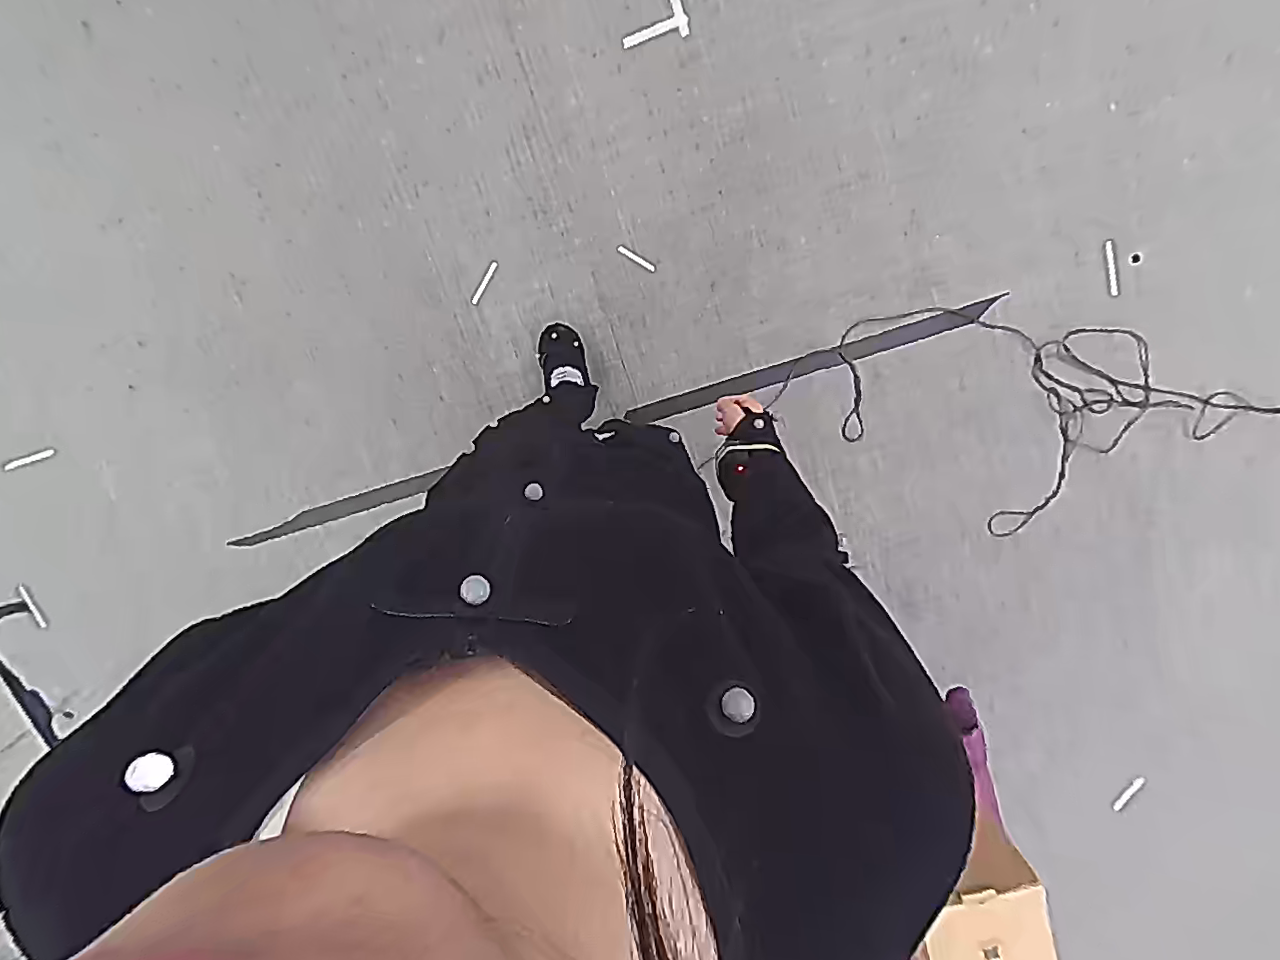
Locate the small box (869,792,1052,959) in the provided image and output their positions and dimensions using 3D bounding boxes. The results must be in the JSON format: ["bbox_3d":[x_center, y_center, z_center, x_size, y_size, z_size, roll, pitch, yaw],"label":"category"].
[{"bbox_3d":[0.463,0.599,0.803,0.168,0.176,0.179,-16,102,4],"label":"small box"}]
